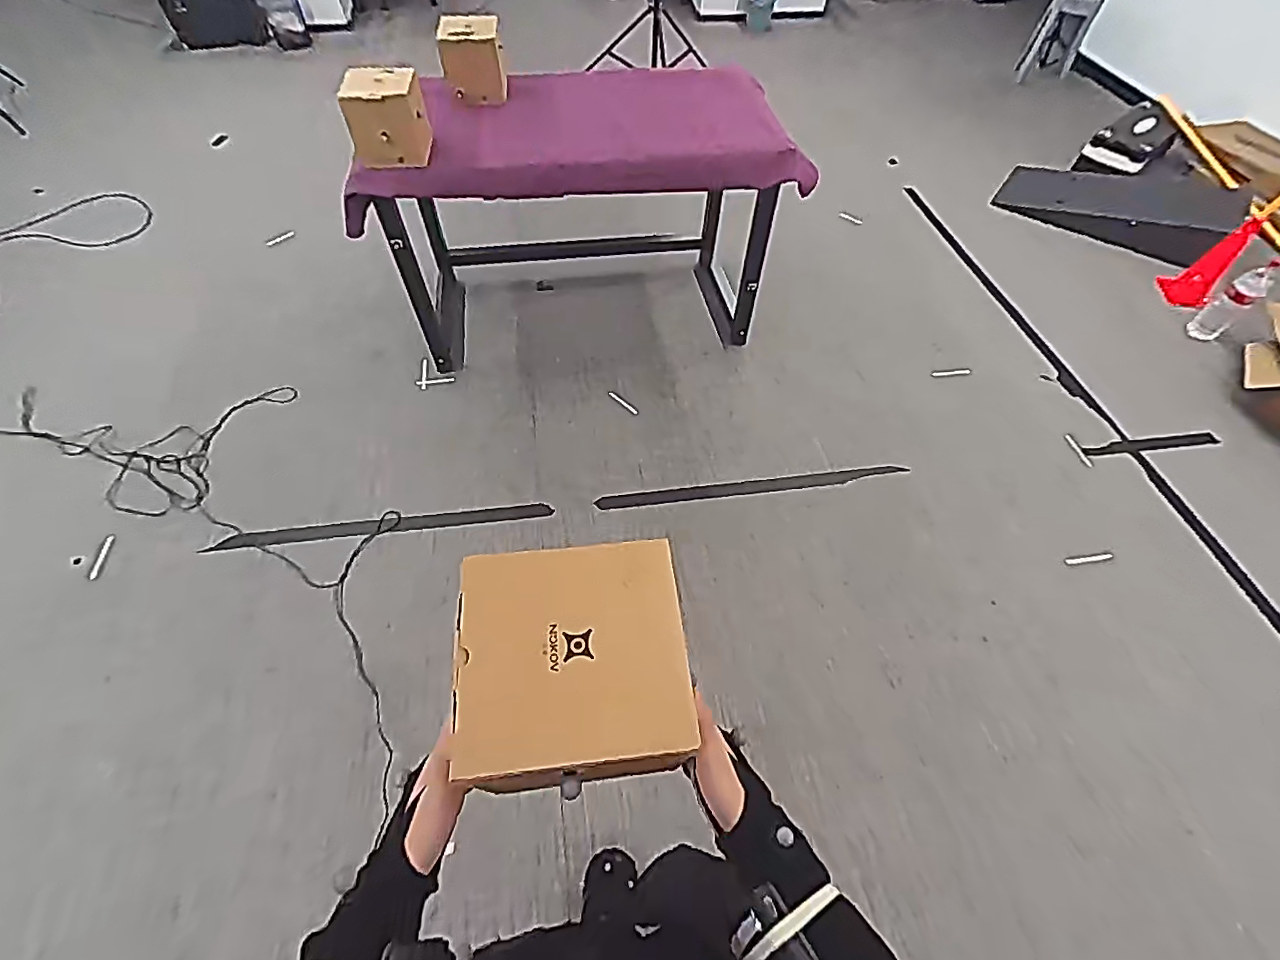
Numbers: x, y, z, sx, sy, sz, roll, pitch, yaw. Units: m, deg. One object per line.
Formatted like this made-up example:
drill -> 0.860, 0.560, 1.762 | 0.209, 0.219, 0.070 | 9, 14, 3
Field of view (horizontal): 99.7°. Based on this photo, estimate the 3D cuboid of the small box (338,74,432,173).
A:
small box -> -0.655, -0.924, 1.410 | 0.168, 0.176, 0.179 | -5, 56, -6

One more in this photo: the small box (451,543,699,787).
small box -> -0.055, 0.171, 0.485 | 0.179, 0.176, 0.168 | -6, 58, -4

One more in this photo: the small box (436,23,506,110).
small box -> -0.504, -1.249, 1.637 | 0.168, 0.176, 0.179 | -5, 56, -5
